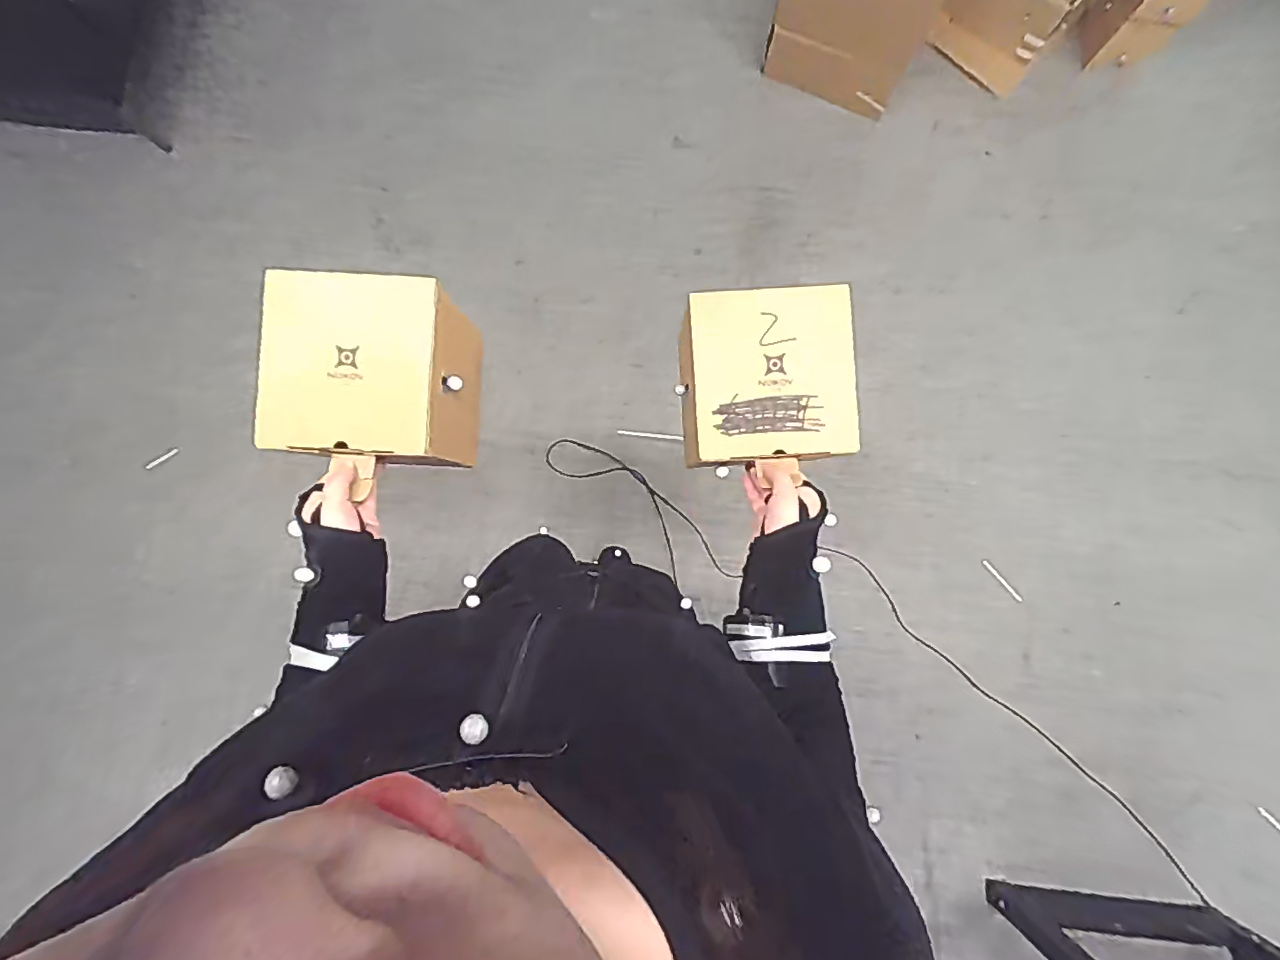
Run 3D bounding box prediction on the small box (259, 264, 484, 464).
[{"bbox_3d":[-0.278,-0.115,0.600,0.168,0.176,0.179,4,89,-1],"label":"small box"}]
